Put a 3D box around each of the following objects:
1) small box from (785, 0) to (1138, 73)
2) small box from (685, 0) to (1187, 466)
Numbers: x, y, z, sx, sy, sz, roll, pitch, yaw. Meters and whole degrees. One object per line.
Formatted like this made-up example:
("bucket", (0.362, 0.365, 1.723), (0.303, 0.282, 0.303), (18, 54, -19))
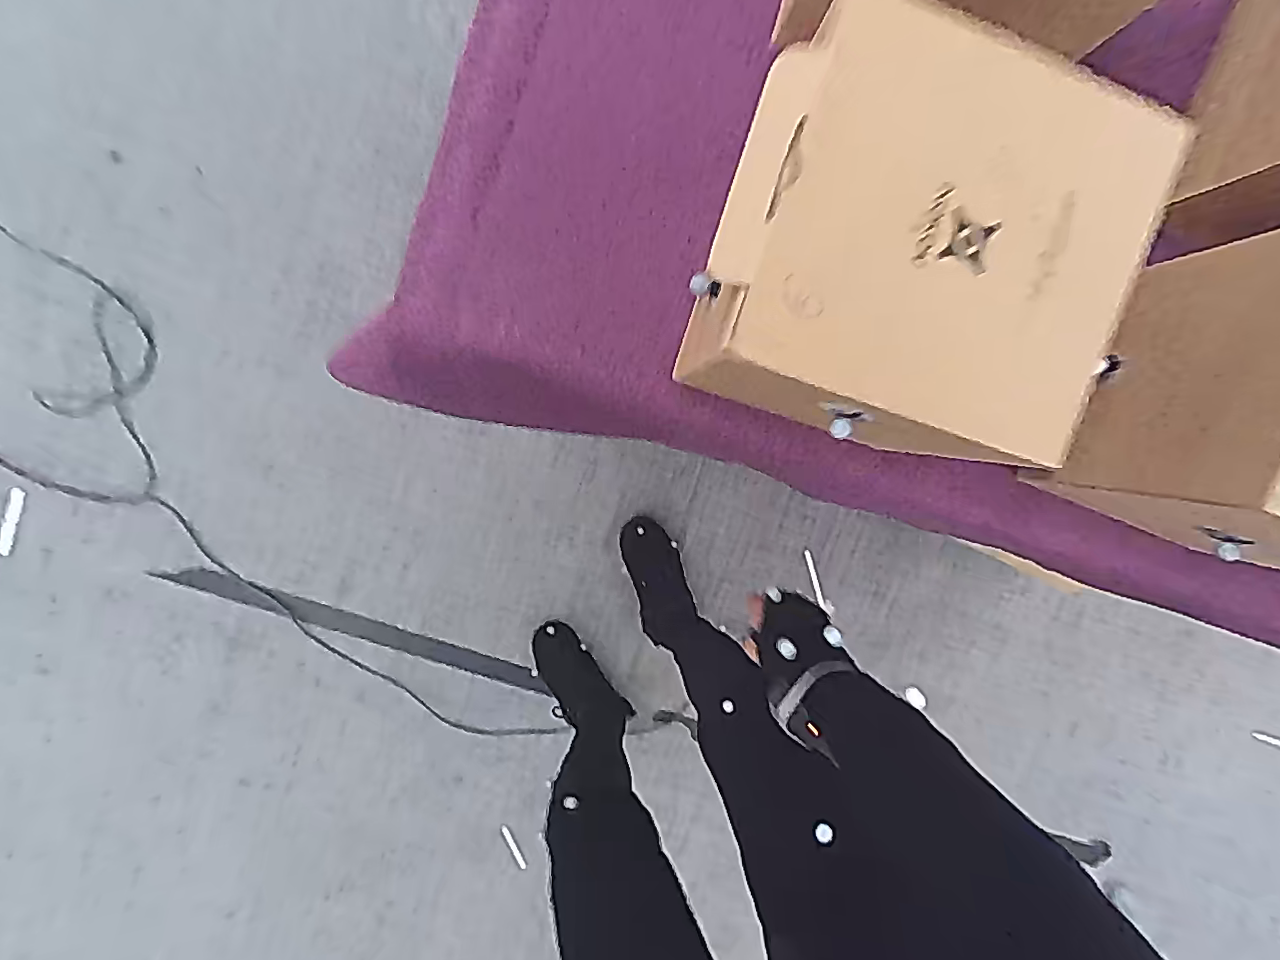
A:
("small box", (0.205, -0.347, 0.304), (0.179, 0.176, 0.168), (16, 95, -6))
("small box", (0.139, -0.116, 0.325), (0.179, 0.176, 0.168), (18, 95, -6))
